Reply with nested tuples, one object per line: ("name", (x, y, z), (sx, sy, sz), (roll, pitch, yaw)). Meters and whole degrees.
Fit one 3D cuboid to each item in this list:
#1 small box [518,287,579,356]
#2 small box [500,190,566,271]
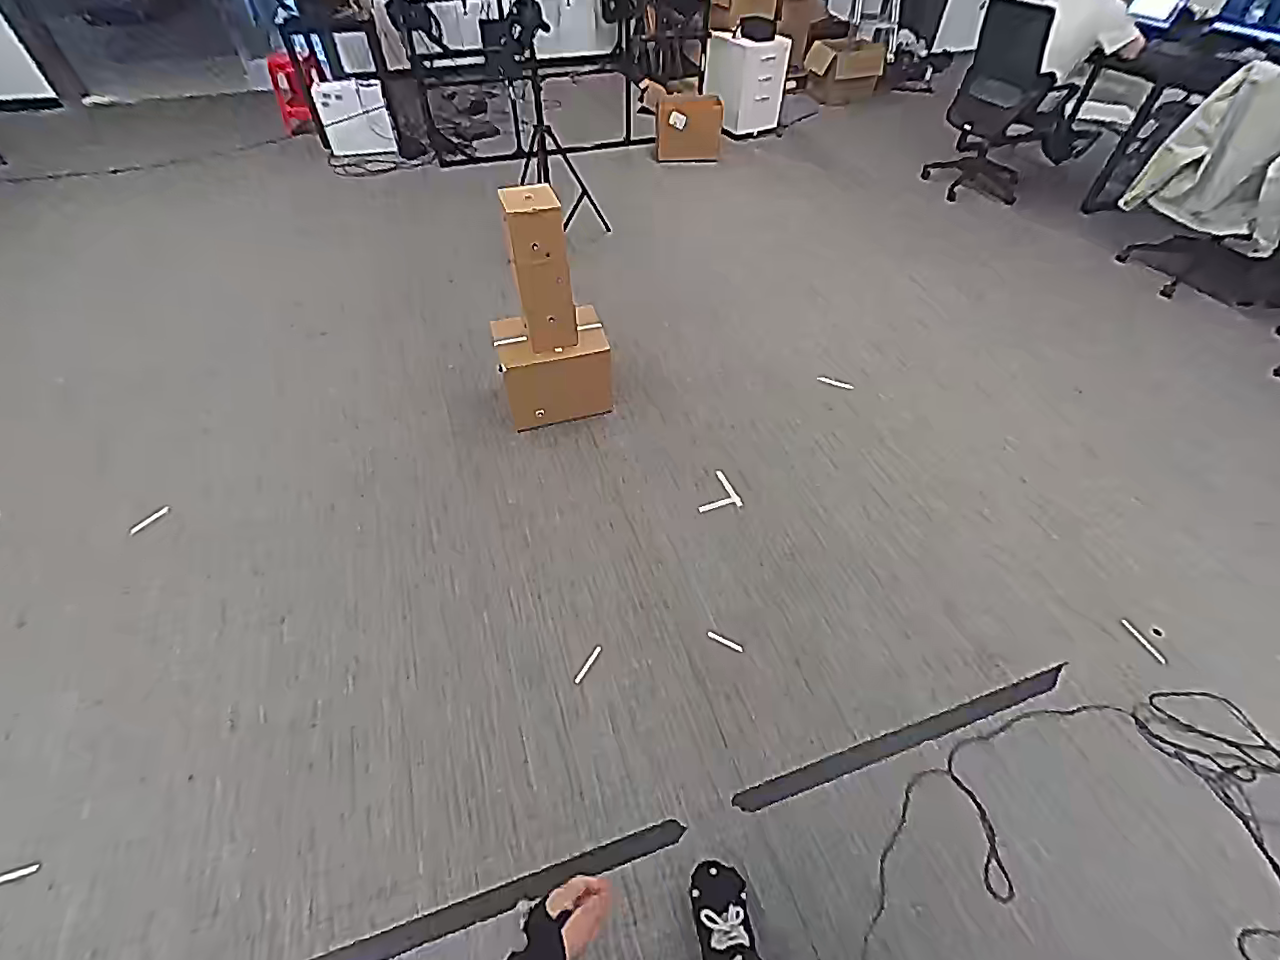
("small box", (-0.328, -0.571, 1.955), (0.179, 0.176, 0.168), (-15, 52, -14))
("small box", (-0.337, -0.789, 1.711), (0.168, 0.176, 0.179), (-15, 52, -13))
